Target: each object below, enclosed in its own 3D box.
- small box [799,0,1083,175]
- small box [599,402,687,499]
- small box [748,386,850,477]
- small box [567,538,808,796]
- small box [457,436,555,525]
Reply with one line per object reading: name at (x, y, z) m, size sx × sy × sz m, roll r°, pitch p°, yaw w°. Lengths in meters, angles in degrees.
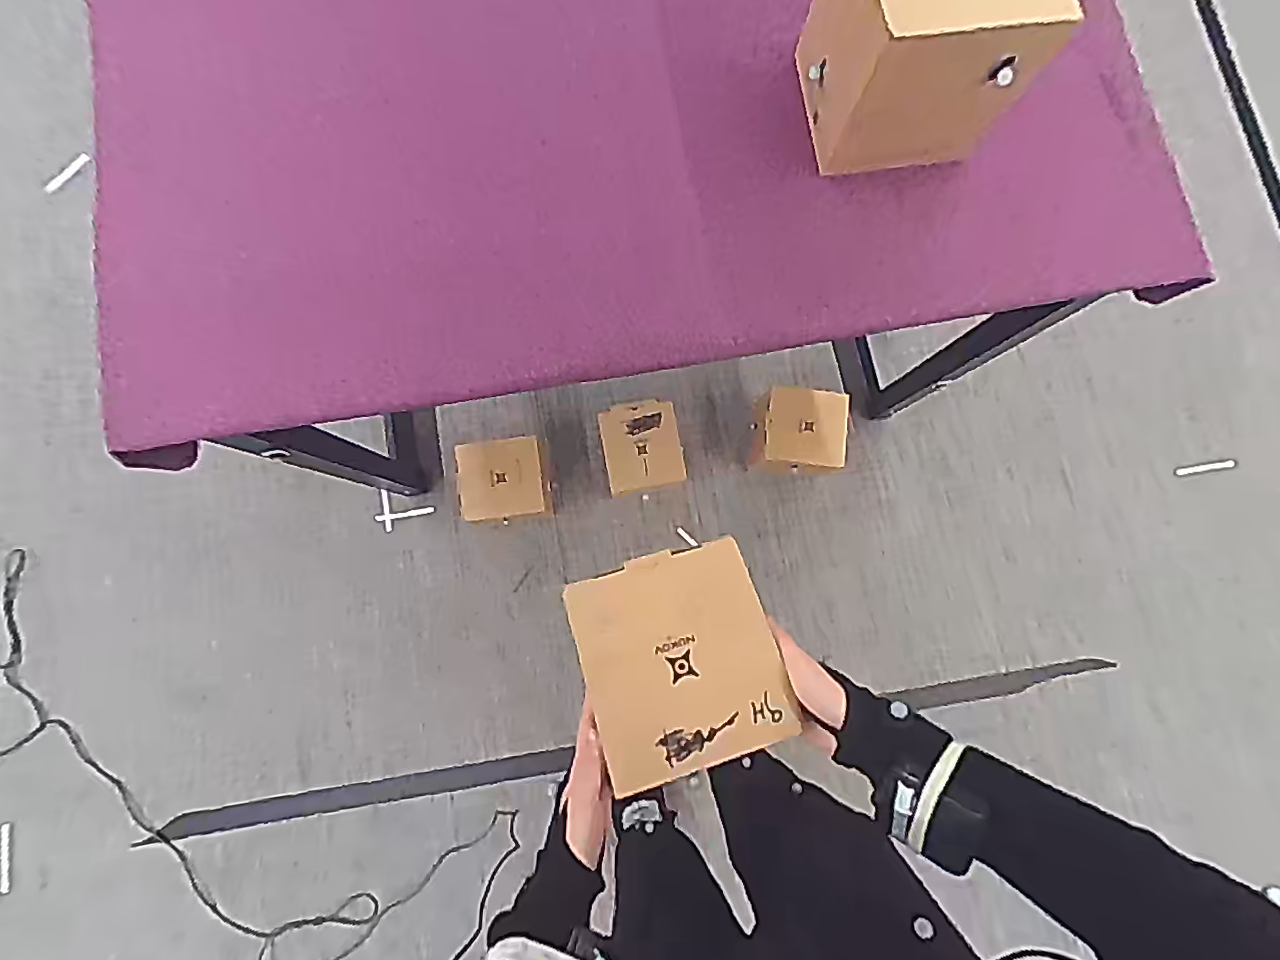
small box at (0.282, -0.445, 0.548) m, size 0.179 × 0.176 × 0.168 m, roll -8°, pitch 81°, yaw -2°
small box at (0.003, -0.061, 1.225) m, size 0.168 × 0.176 × 0.179 m, roll -10°, pitch 83°, yaw -2°
small box at (0.357, -0.104, 1.239) m, size 0.179 × 0.176 × 0.168 m, roll 7°, pitch 83°, yaw 1°
small box at (0.034, 0.180, 0.531) m, size 0.168 × 0.176 × 0.179 m, roll -16°, pitch 69°, yaw -6°
small box at (-0.294, 0.007, 1.212) m, size 0.179 × 0.176 × 0.168 m, roll -7°, pitch 83°, yaw -3°
